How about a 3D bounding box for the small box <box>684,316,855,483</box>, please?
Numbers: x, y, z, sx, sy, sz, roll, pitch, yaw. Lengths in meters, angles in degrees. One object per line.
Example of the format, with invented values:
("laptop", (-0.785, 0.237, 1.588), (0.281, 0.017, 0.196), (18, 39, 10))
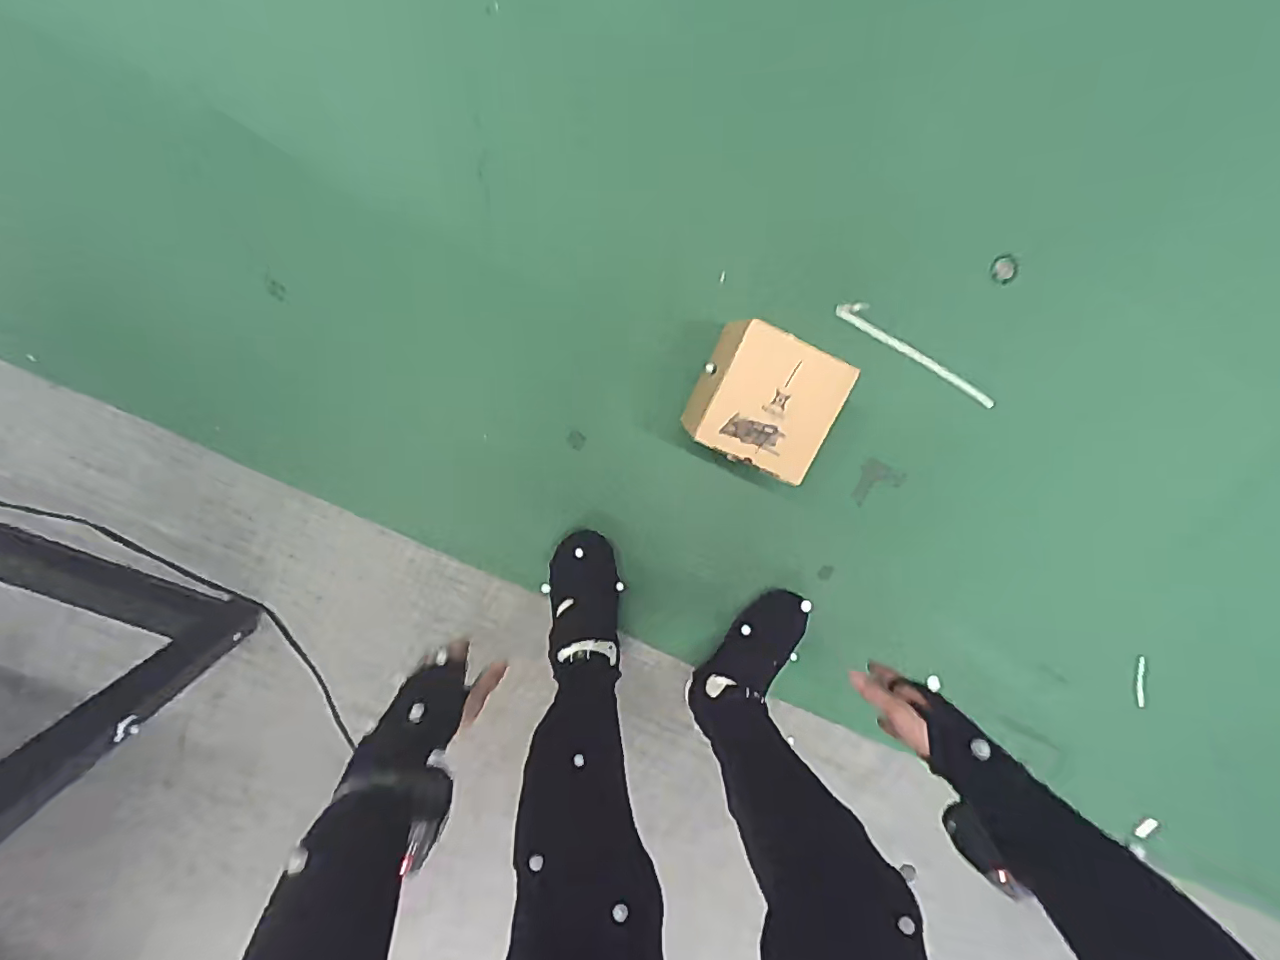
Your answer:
("small box", (0.175, -0.123, 0.801), (0.168, 0.176, 0.179), (24, 102, -9))
